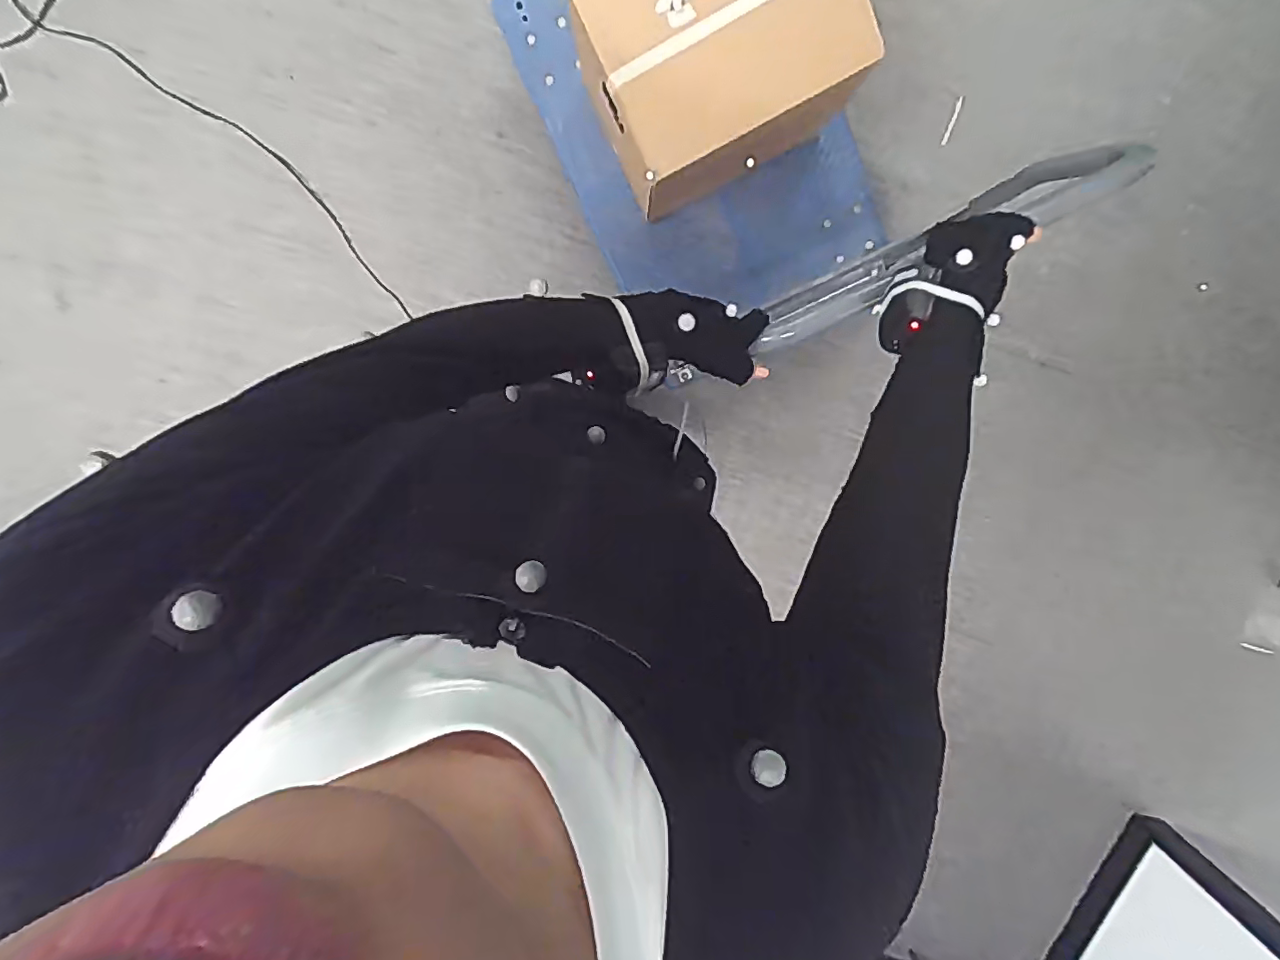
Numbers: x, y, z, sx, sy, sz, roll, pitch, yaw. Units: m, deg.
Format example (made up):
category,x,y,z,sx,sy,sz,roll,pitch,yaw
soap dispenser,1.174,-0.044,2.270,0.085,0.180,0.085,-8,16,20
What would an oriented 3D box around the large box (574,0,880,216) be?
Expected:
category,x,y,z,sx,sy,sz,roll,pitch,yaw
large box,0.138,-0.749,0.981,0.408,0.320,0.320,-26,103,6
